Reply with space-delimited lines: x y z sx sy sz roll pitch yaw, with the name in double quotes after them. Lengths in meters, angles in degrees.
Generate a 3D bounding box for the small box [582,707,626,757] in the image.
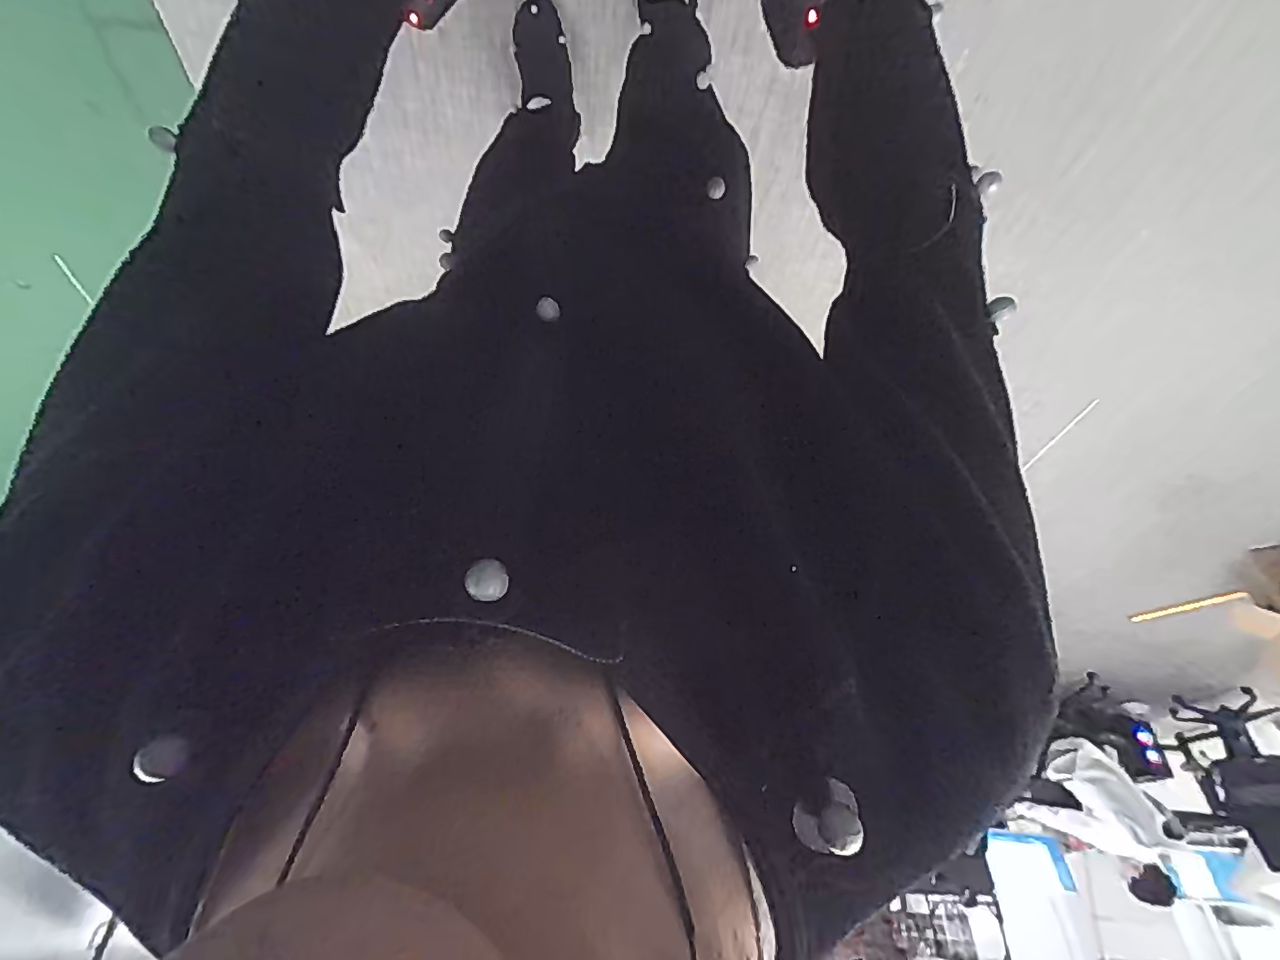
-0.154 1.084 2.324 0.179 0.176 0.168 5 142 0 "small box"
